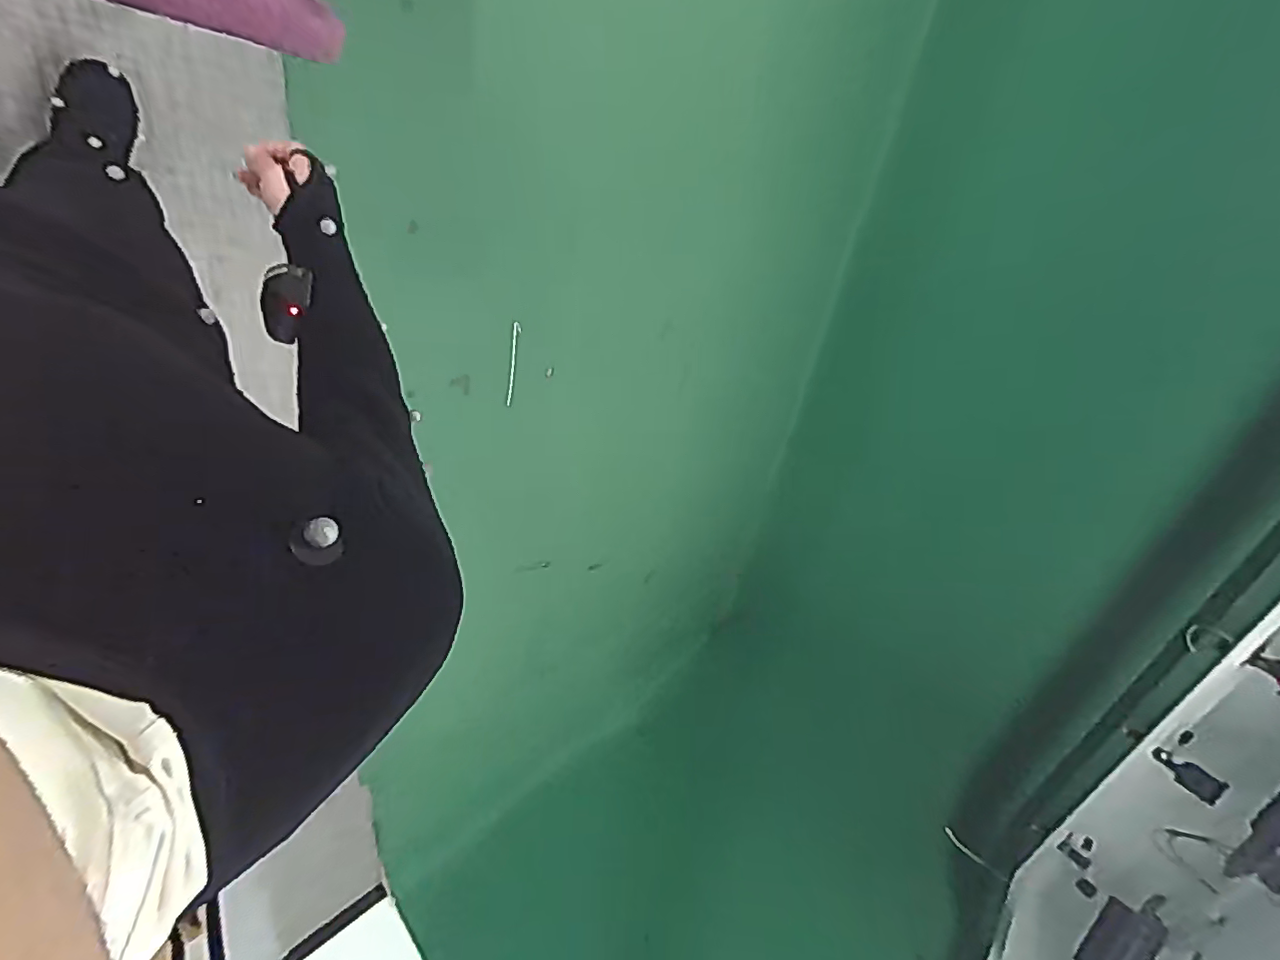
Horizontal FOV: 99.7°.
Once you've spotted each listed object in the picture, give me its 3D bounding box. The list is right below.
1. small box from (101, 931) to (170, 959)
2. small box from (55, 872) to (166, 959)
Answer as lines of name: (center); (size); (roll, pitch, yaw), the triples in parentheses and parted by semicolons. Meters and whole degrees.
small box: (-1.162, 1.186, 1.221); (0.168, 0.176, 0.179); (-15, 128, -48)
small box: (-1.277, 1.112, 1.311); (0.168, 0.176, 0.179); (-16, 129, -45)
